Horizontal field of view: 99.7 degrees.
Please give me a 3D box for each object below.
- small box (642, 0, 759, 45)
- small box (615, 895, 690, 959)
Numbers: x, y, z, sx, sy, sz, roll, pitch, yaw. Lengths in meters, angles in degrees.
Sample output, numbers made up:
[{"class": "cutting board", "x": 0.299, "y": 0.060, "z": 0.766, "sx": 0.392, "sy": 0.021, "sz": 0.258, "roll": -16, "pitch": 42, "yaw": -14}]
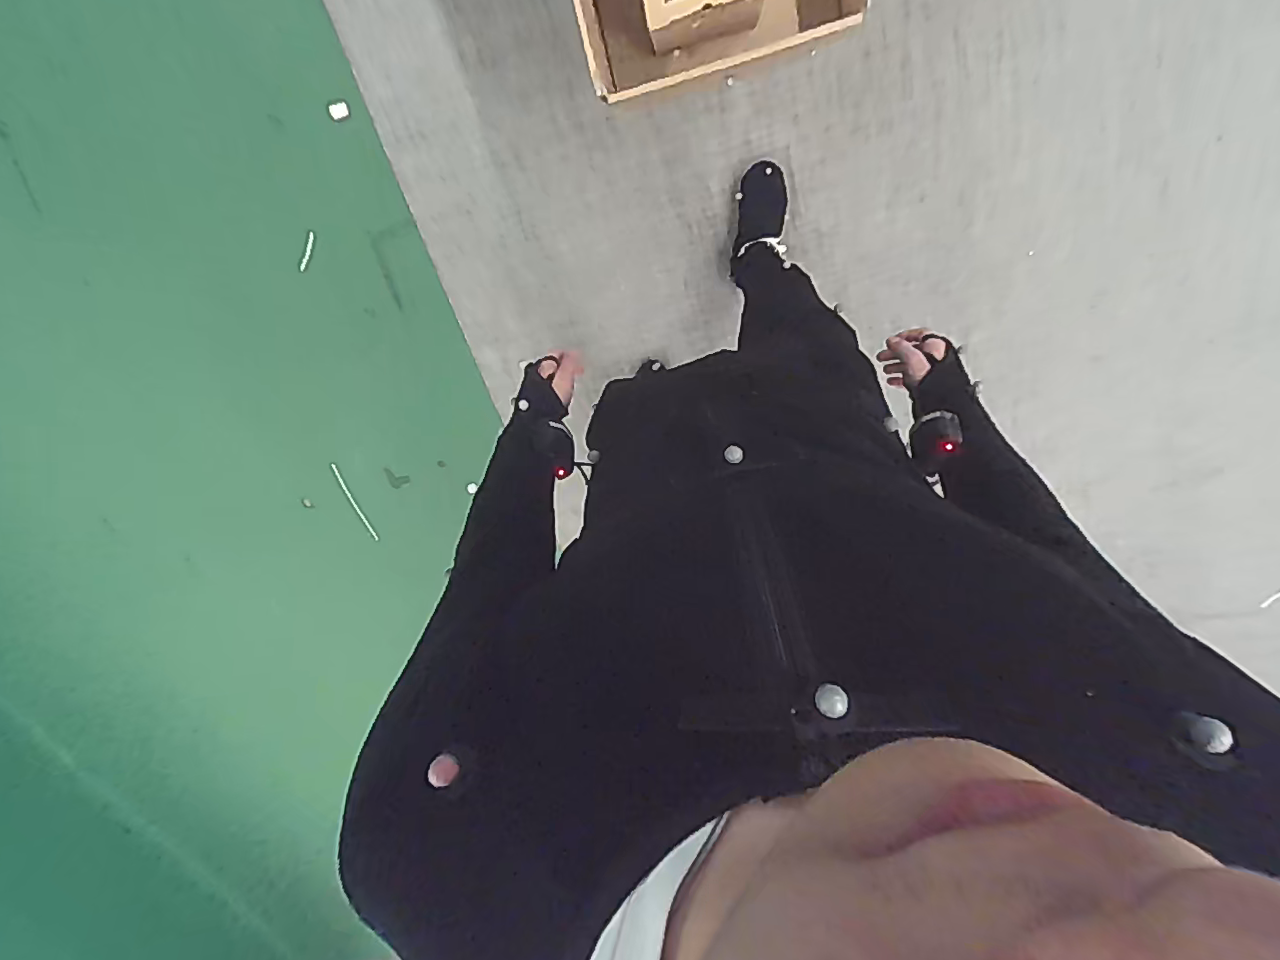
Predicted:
[{"class": "small box", "x": 0.079, "y": -0.748, "z": 0.760, "sx": 0.168, "sy": 0.176, "sz": 0.179, "roll": -9, "pitch": 115, "yaw": 11}, {"class": "small box", "x": 0.041, "y": 1.286, "z": 1.494, "sx": 0.168, "sy": 0.176, "sz": 0.179, "roll": -14, "pitch": 116, "yaw": 12}]
